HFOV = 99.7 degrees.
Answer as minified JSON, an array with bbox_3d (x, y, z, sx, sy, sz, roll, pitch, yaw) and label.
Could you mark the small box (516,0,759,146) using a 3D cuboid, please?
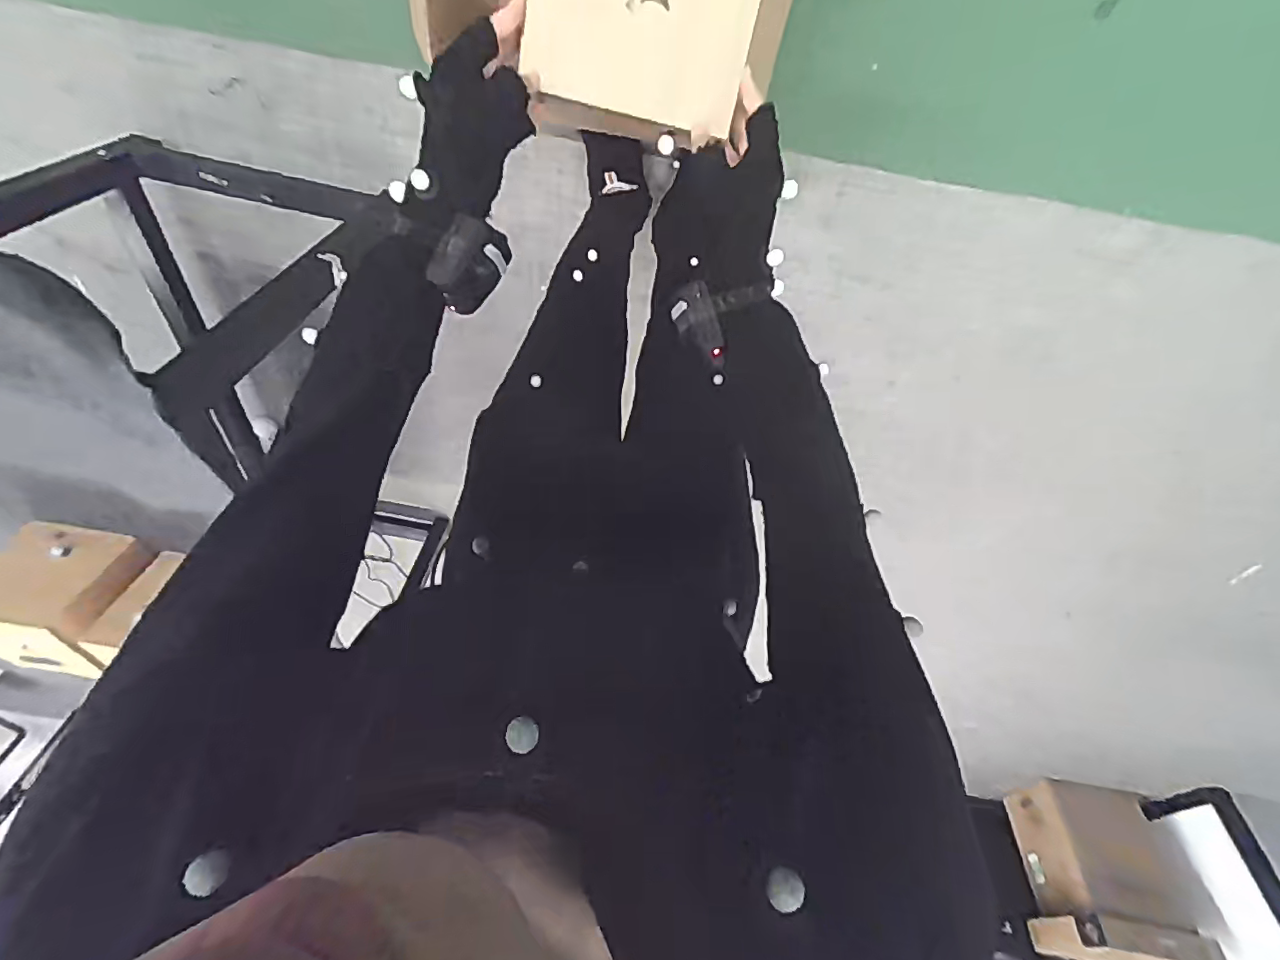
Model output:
[{"bbox_3d":[-0.004,-0.406,0.472,0.179,0.176,0.168,9,118,-11],"label":"small box"}]
